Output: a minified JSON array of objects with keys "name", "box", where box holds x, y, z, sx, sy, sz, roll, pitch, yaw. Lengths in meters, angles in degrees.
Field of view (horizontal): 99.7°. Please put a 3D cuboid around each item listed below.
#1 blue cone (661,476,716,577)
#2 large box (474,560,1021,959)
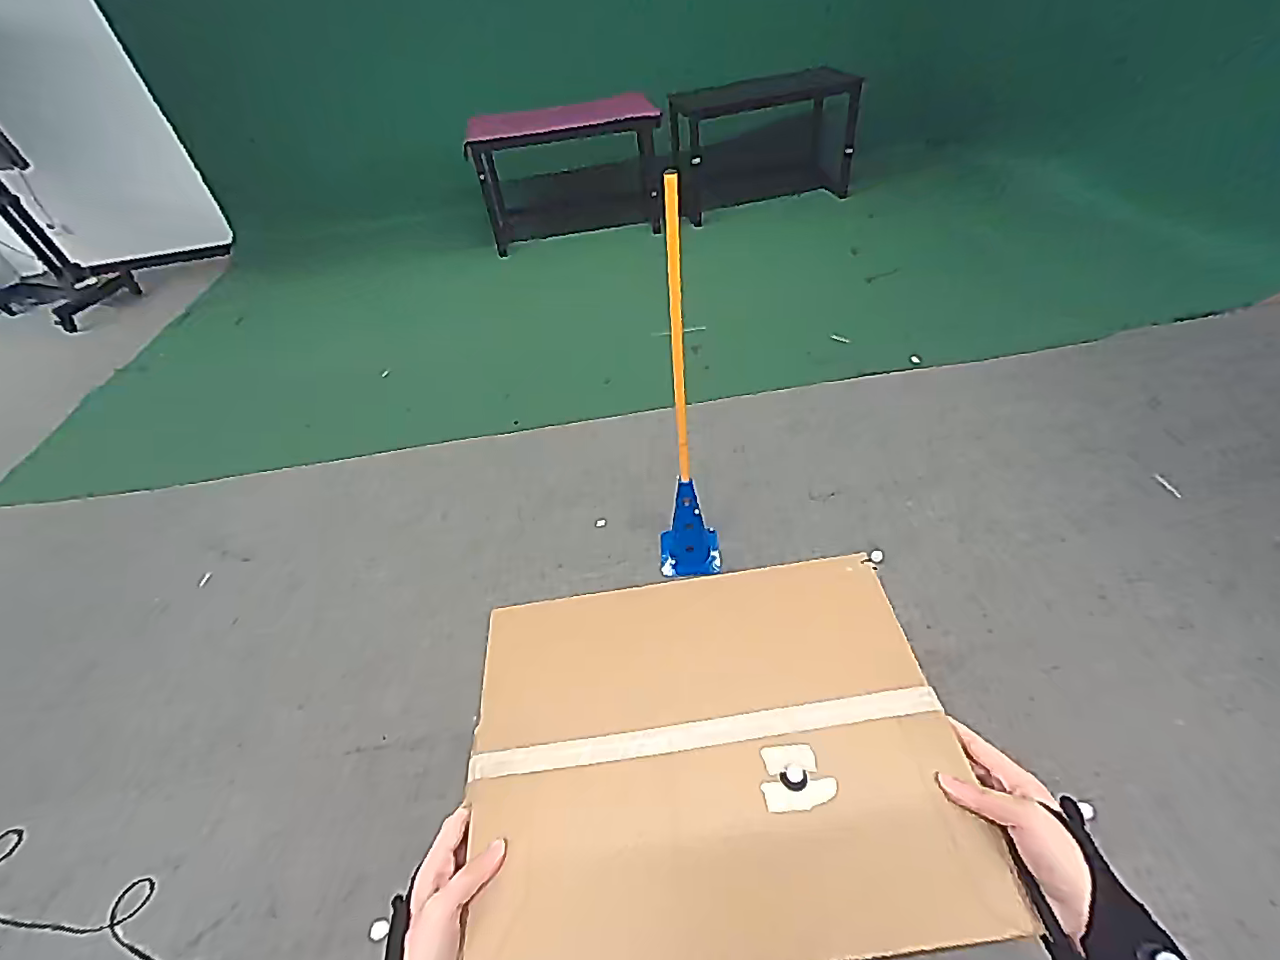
[{"name":"blue cone","box":[0.151,0.143,1.770,0.193,0.380,0.192,-3,43,5]},{"name":"large box","box":[0.073,0.327,0.588,0.408,0.320,0.320,-8,47,0]}]
